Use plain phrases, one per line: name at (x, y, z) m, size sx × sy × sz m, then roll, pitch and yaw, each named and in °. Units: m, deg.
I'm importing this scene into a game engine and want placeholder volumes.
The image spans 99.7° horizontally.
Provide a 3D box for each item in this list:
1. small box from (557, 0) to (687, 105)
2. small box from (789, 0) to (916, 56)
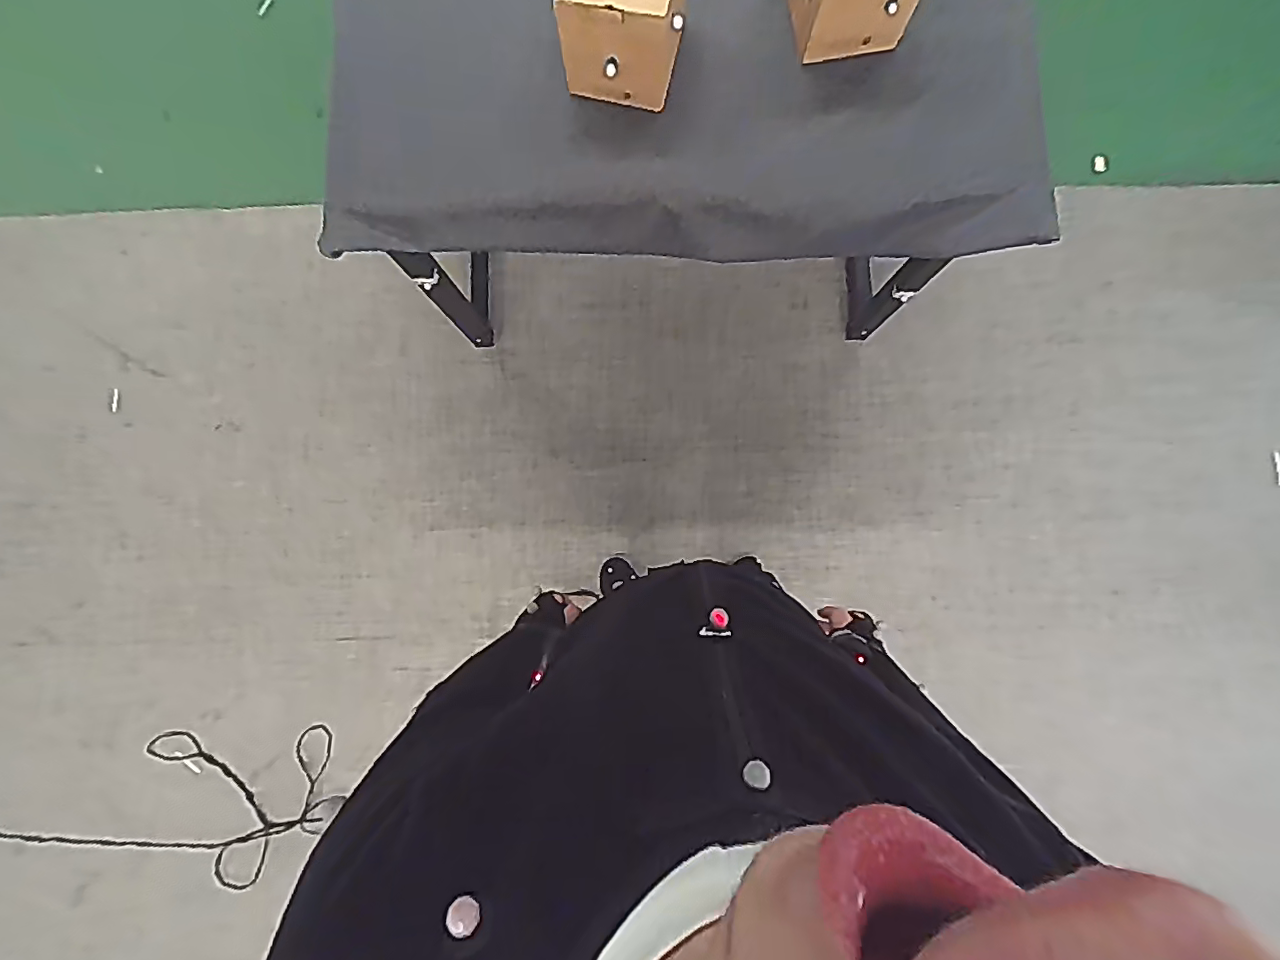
small box at (-0.019, -0.739, 0.848) m, size 0.168 × 0.176 × 0.179 m, roll 13°, pitch 85°, yaw 1°
small box at (0.344, -0.816, 0.856) m, size 0.168 × 0.176 × 0.179 m, roll -9°, pitch 83°, yaw -2°
